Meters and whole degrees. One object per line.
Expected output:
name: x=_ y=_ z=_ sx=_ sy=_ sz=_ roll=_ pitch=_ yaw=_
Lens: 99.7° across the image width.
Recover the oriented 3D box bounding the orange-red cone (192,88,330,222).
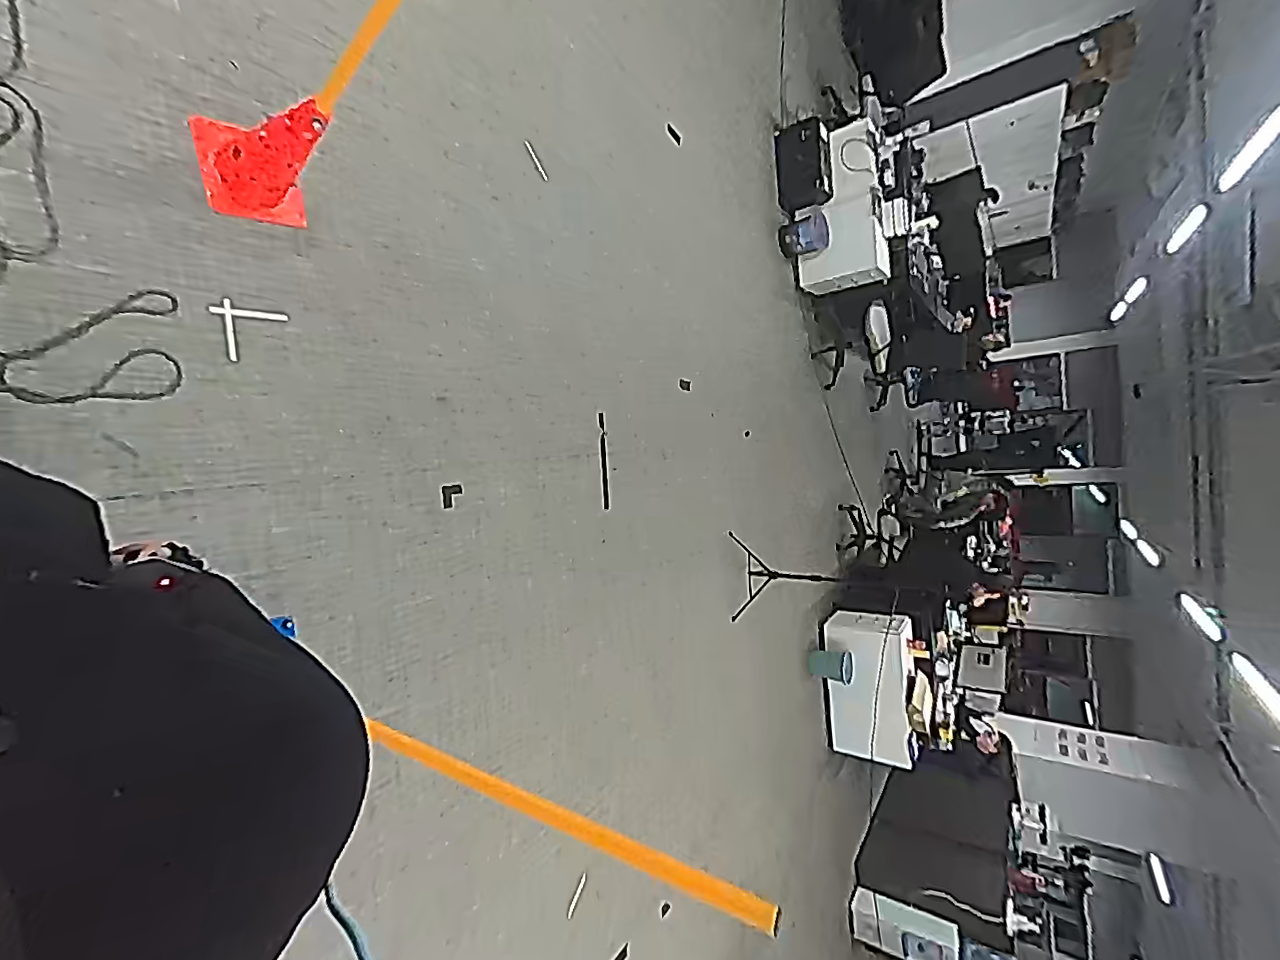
orange-red cone: x=-0.742 y=-0.708 z=1.121 sx=0.199 sy=0.360 sz=0.198 roll=-16 pitch=100 yaw=-52
